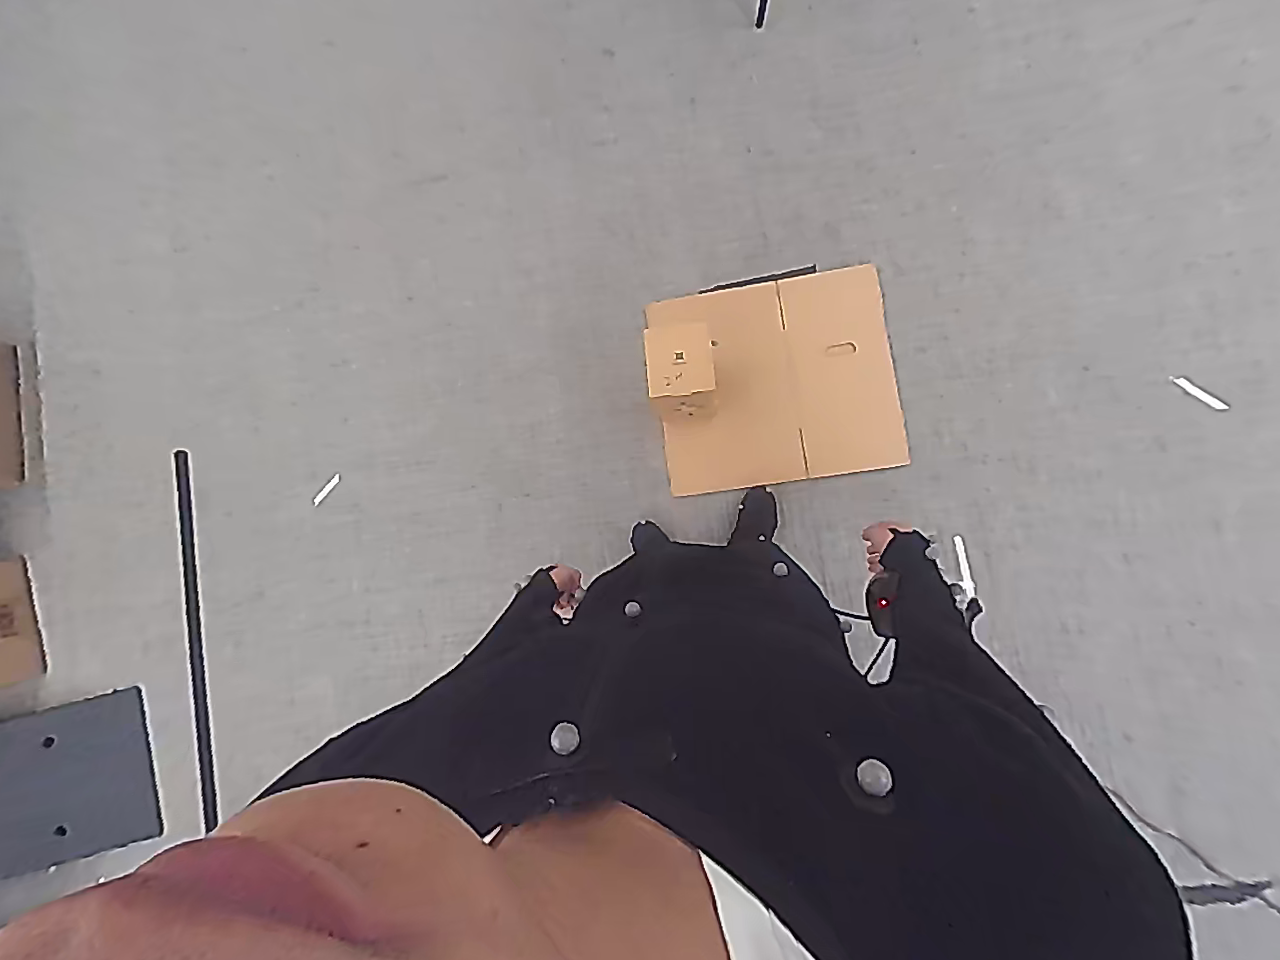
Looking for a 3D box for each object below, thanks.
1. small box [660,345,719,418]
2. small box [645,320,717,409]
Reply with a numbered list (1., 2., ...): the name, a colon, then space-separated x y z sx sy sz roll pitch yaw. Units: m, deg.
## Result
1. small box: 0.139 -0.277 1.553 0.168 0.176 0.179 -6 87 7
2. small box: 0.107 -0.291 1.391 0.168 0.176 0.179 -5 87 7
